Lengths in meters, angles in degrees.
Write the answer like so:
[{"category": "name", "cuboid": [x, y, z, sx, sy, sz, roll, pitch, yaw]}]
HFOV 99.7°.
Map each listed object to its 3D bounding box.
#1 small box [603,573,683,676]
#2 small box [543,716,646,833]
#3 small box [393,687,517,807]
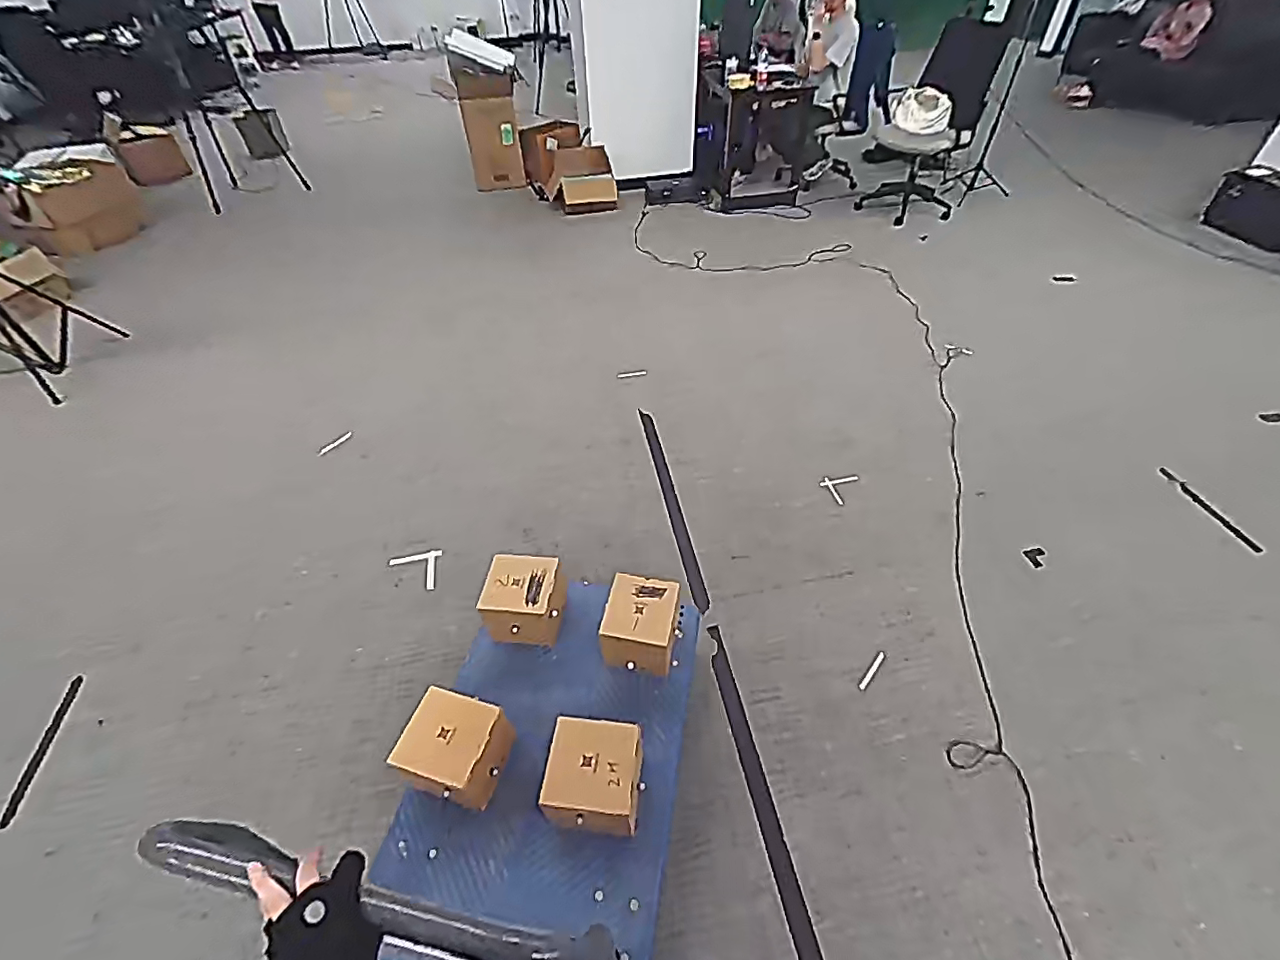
[{"category": "small box", "cuboid": [0.010, 0.363, 1.360, 0.168, 0.176, 0.179, 8, 47, 10]}, {"category": "small box", "cuboid": [-0.085, 0.611, 1.119, 0.179, 0.176, 0.168, 4, 46, 7]}, {"category": "small box", "cuboid": [-0.387, 0.579, 1.167, 0.179, 0.176, 0.168, 11, 47, 12]}]
